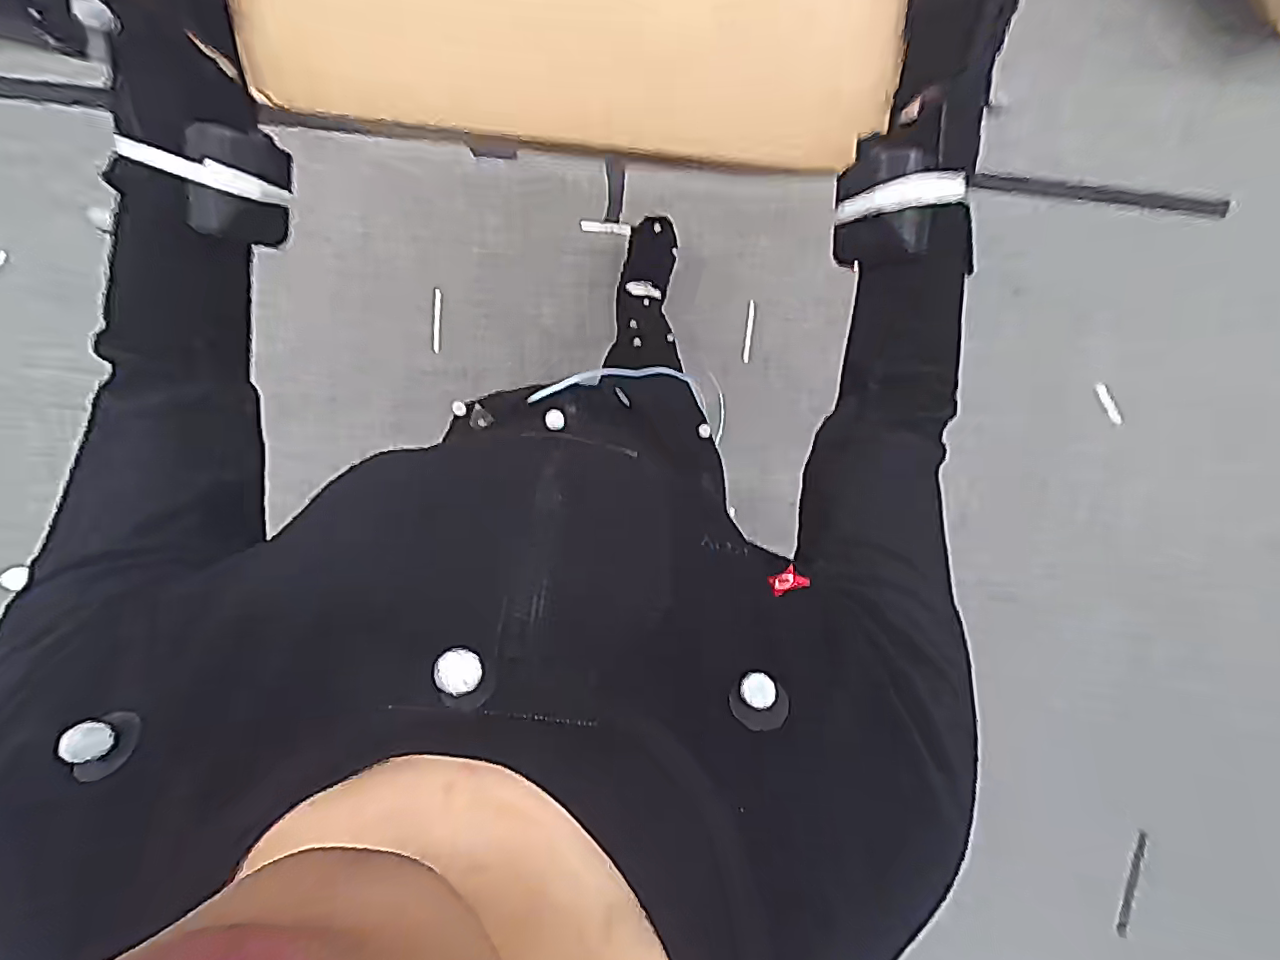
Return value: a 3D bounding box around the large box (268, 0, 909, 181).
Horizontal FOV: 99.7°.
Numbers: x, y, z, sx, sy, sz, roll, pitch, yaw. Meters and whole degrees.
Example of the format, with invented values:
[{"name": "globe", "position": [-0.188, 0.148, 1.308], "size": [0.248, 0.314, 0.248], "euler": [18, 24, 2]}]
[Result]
[{"name": "large box", "position": [-0.030, -0.435, 0.431], "size": [0.408, 0.320, 0.320], "euler": [3, 119, -6]}]
